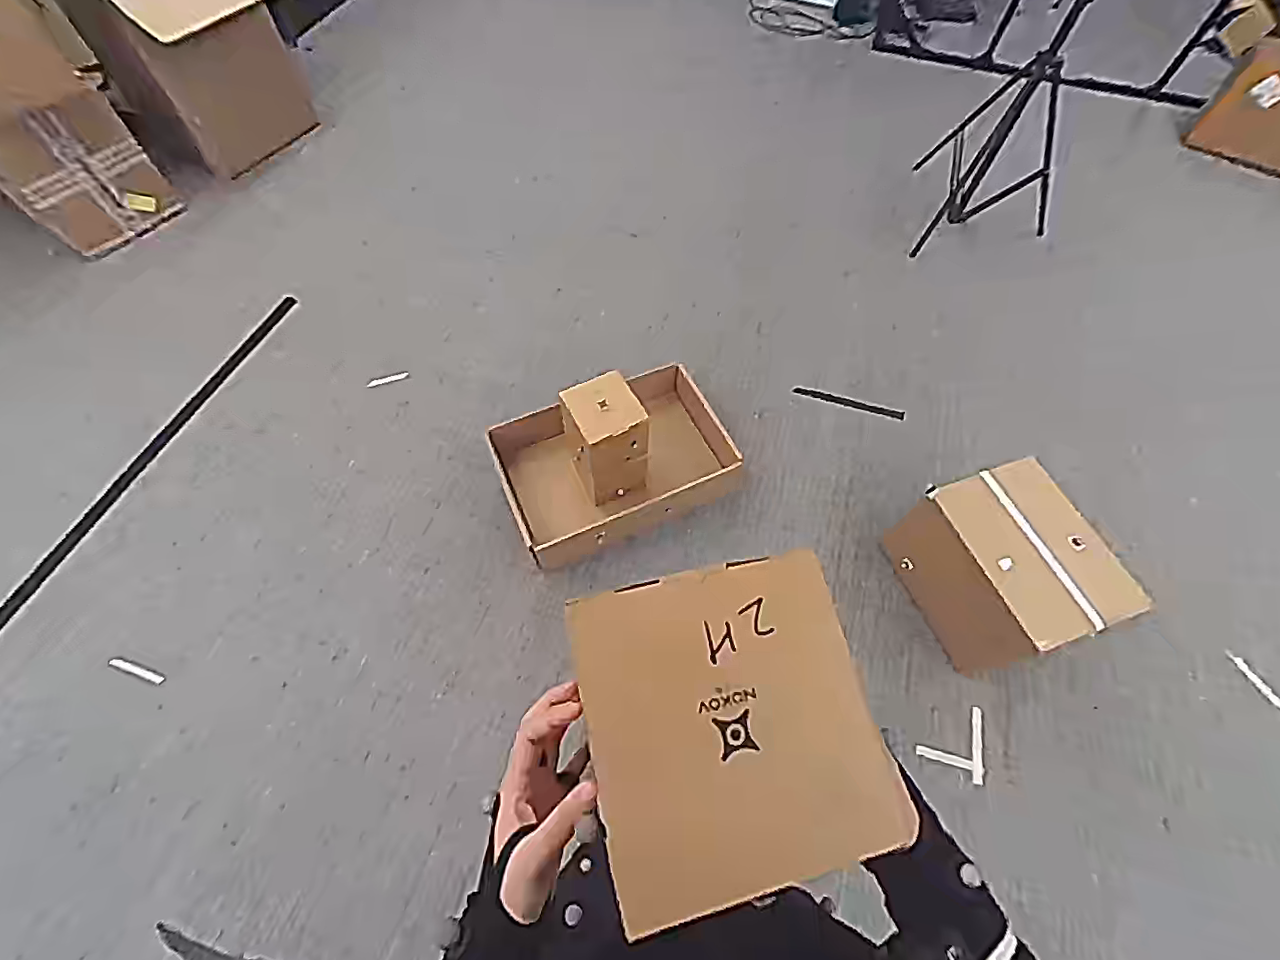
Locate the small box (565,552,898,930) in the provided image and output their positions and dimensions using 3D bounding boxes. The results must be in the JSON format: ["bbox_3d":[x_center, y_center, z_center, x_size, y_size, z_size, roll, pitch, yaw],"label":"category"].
[{"bbox_3d":[0.042,0.165,0.393,0.168,0.176,0.179,-10,73,-11],"label":"small box"}]

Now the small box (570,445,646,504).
[{"bbox_3d":[-0.094,-0.062,1.526,0.168,0.176,0.179,-22,65,-13],"label":"small box"}]

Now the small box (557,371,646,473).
[{"bbox_3d":[-0.096,-0.138,1.383,0.168,0.176,0.179,-26,64,-16],"label":"small box"}]
